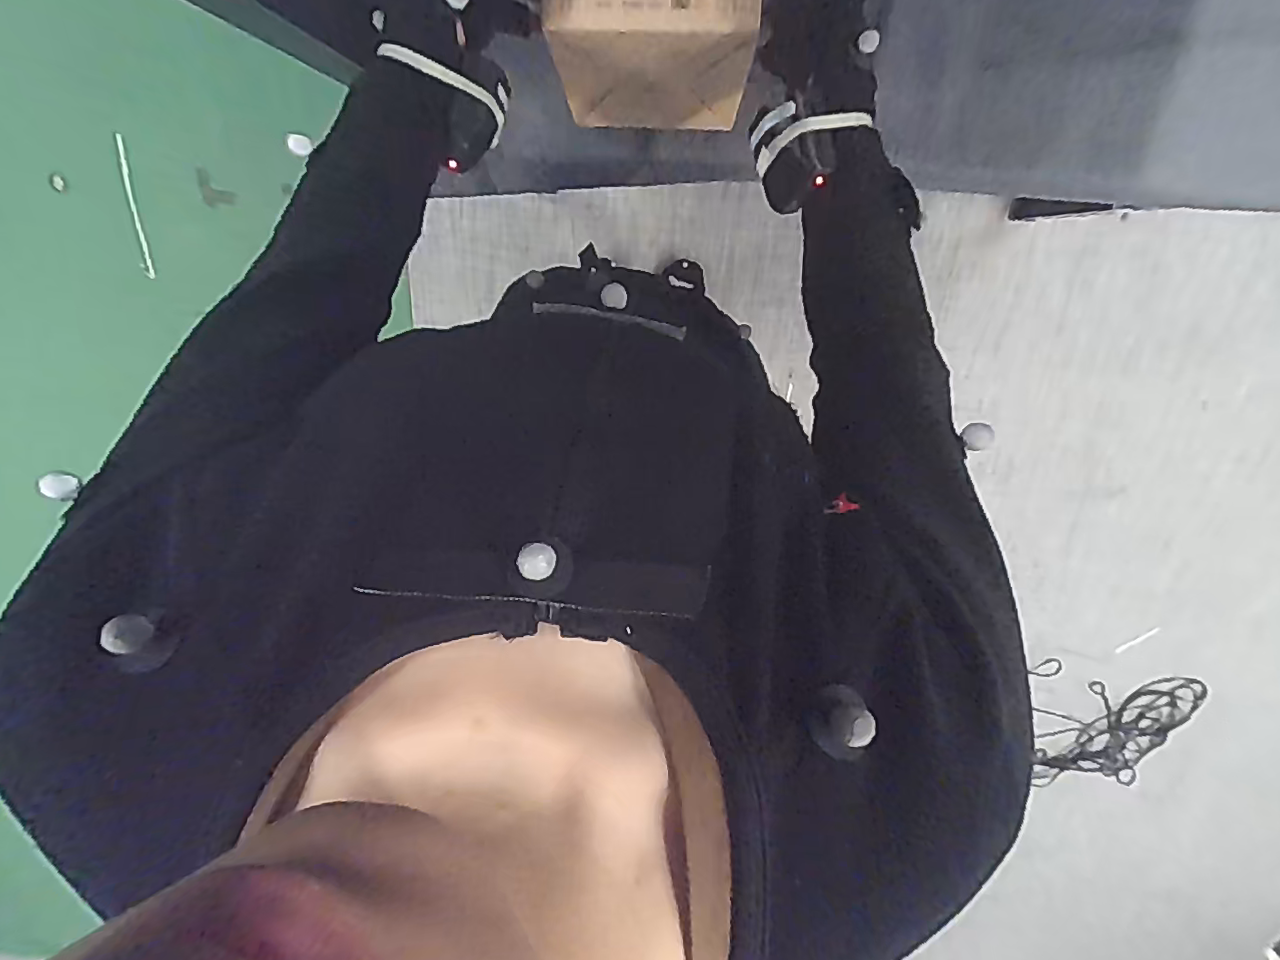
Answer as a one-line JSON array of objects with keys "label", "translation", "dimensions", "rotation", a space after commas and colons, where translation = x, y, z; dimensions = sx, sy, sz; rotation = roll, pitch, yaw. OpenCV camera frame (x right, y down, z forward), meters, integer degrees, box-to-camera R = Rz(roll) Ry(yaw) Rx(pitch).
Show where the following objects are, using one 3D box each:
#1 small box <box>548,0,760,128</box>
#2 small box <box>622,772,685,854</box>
[{"label": "small box", "translation": [0.015, -0.431, 0.470], "dimensions": [0.168, 0.179, 0.176], "rotation": [3, 103, 2]}, {"label": "small box", "translation": [0.049, 1.178, 1.921], "dimensions": [0.179, 0.176, 0.168], "rotation": [18, 111, -4]}]
